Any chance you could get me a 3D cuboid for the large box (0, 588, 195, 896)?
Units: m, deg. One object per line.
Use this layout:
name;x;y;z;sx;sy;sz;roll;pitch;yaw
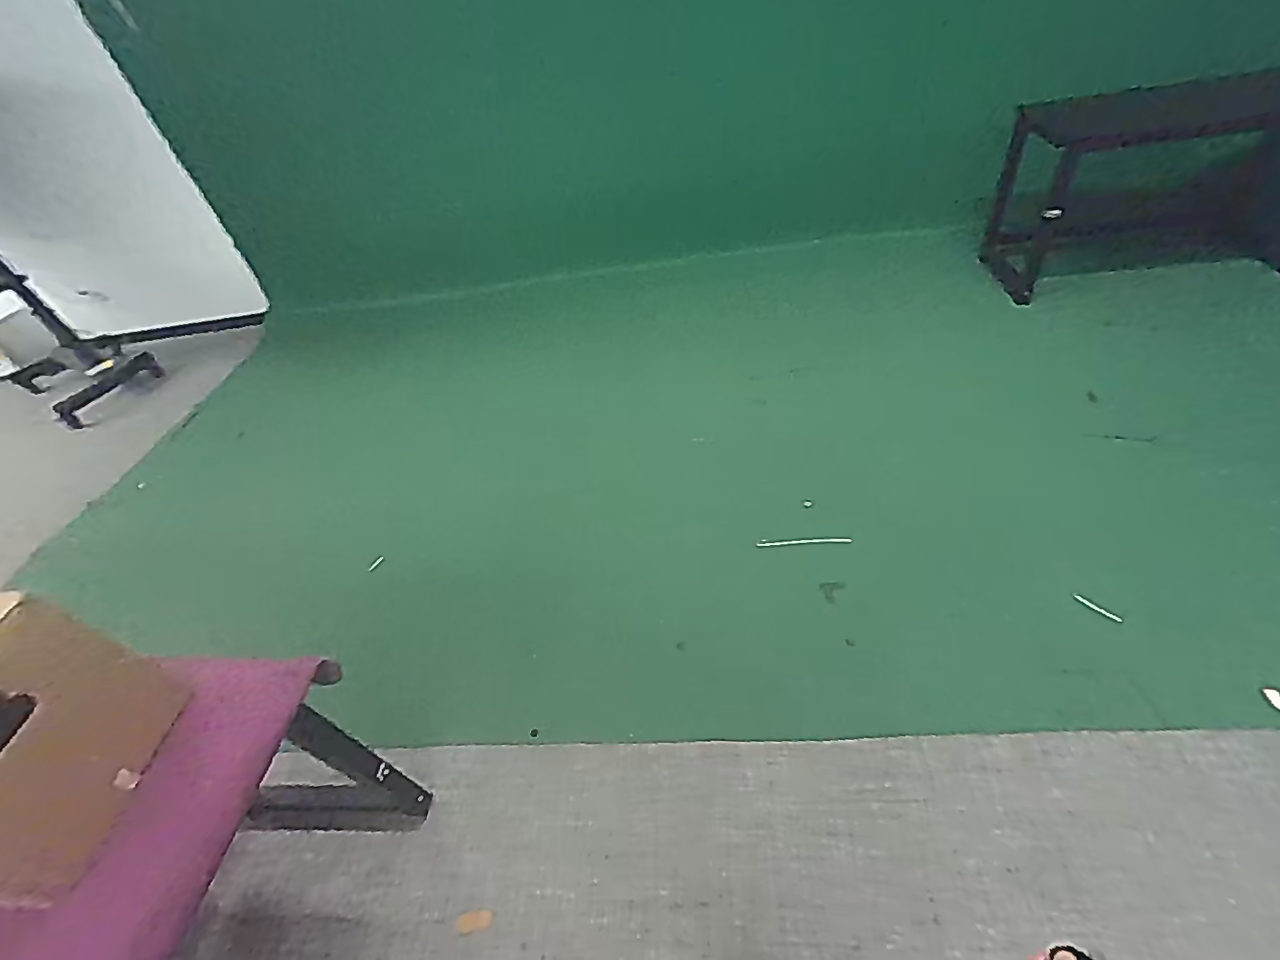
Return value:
large box;-1.000;0.376;0.769;0.408;0.320;0.320;-4;46;7
